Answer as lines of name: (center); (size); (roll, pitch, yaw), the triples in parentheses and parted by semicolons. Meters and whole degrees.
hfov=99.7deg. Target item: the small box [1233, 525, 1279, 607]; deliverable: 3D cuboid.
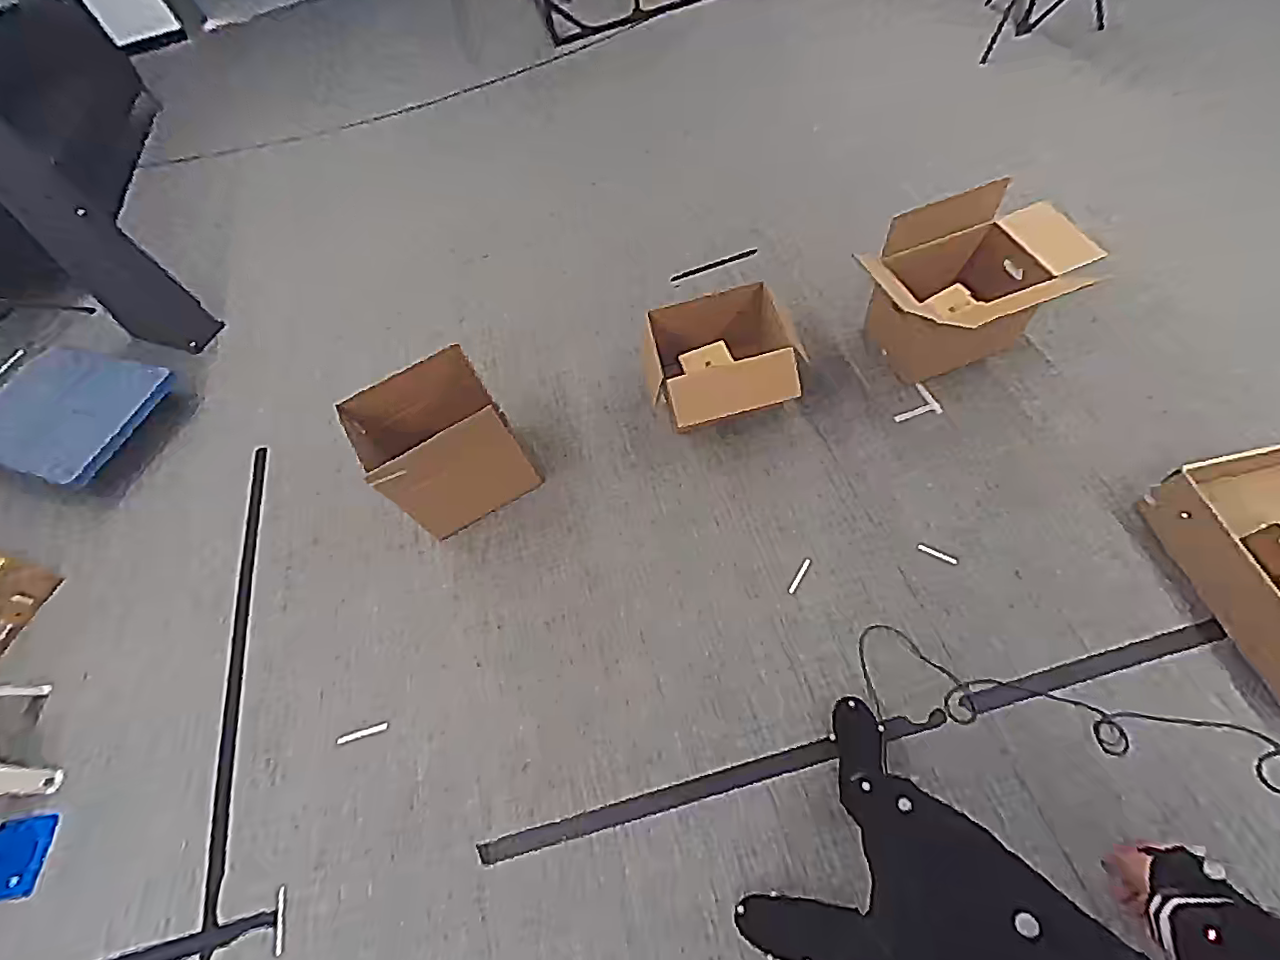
small box: (1.606, 0.190, 1.297); (0.179, 0.176, 0.168); (-17, 60, 0)
